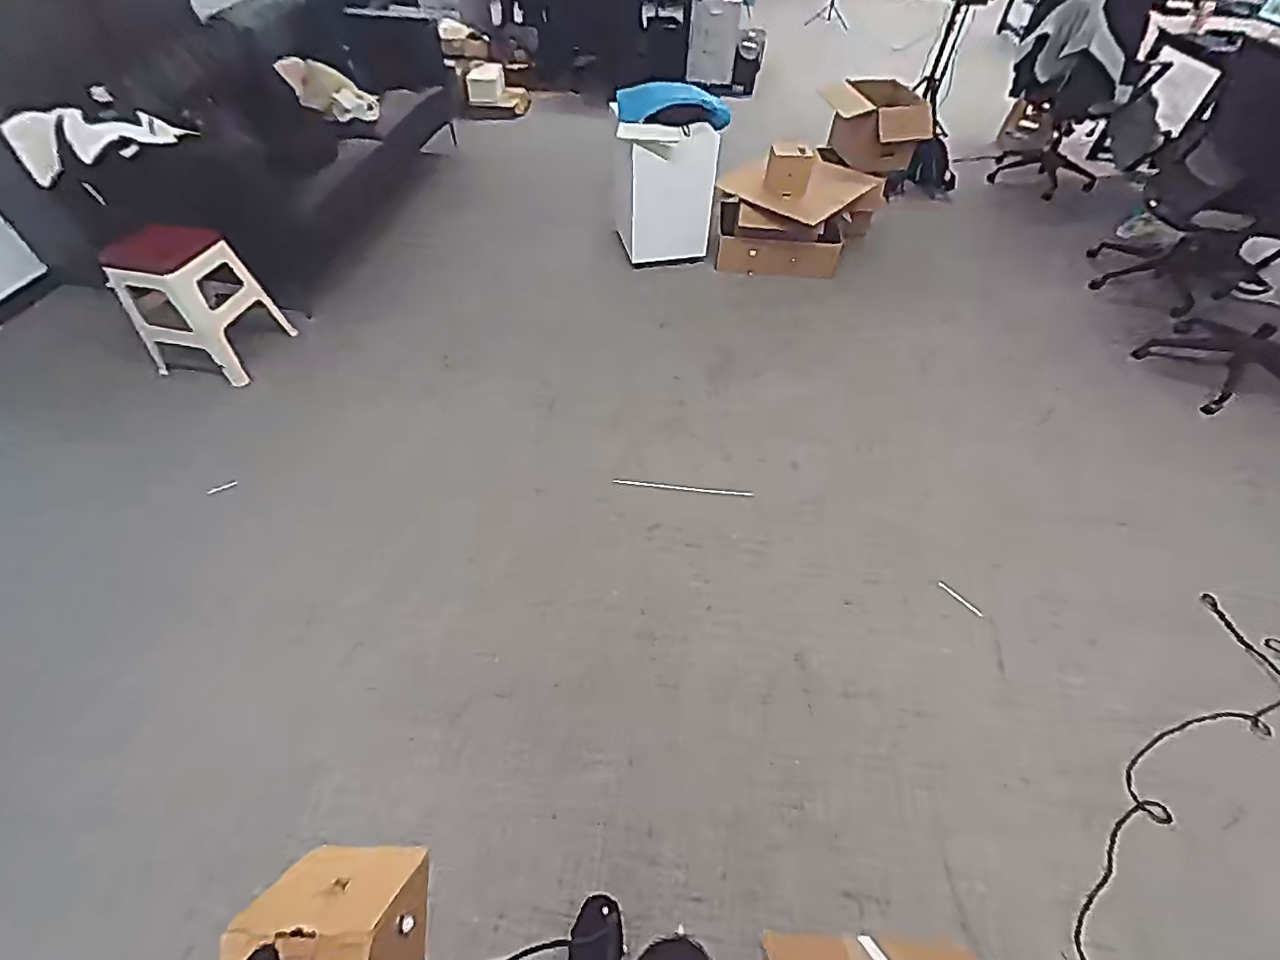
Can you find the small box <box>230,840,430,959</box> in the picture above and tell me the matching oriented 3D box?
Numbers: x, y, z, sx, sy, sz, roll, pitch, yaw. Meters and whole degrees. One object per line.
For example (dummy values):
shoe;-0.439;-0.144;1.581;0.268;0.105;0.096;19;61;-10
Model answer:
small box;-0.381;0.587;0.675;0.168;0.179;0.176;1;84;0
